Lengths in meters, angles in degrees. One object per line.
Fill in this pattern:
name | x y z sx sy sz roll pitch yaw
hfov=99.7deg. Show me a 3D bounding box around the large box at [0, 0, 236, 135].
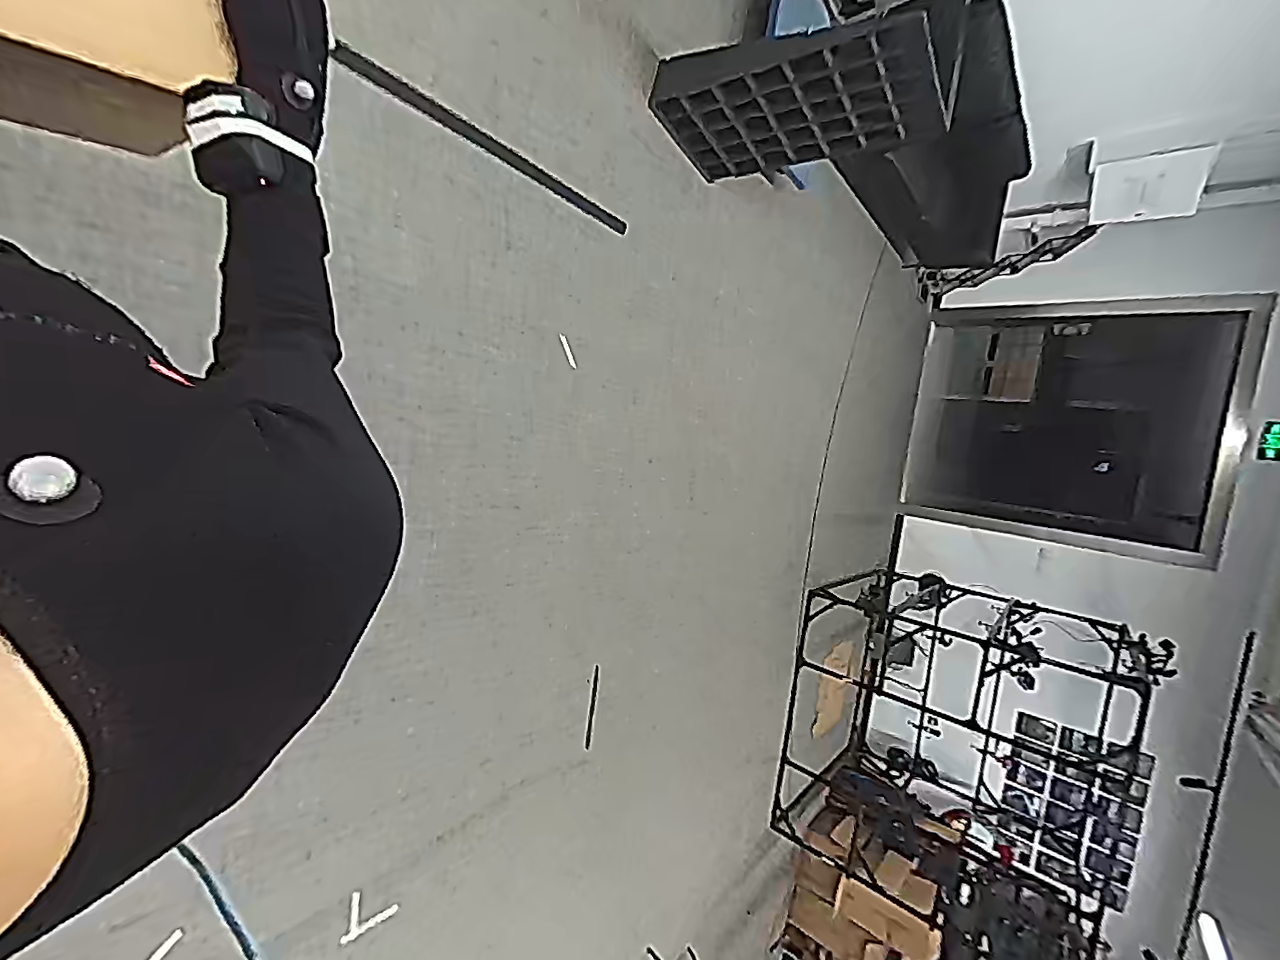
large box | -0.543 -0.462 0.325 0.408 0.320 0.320 -11 114 -50
